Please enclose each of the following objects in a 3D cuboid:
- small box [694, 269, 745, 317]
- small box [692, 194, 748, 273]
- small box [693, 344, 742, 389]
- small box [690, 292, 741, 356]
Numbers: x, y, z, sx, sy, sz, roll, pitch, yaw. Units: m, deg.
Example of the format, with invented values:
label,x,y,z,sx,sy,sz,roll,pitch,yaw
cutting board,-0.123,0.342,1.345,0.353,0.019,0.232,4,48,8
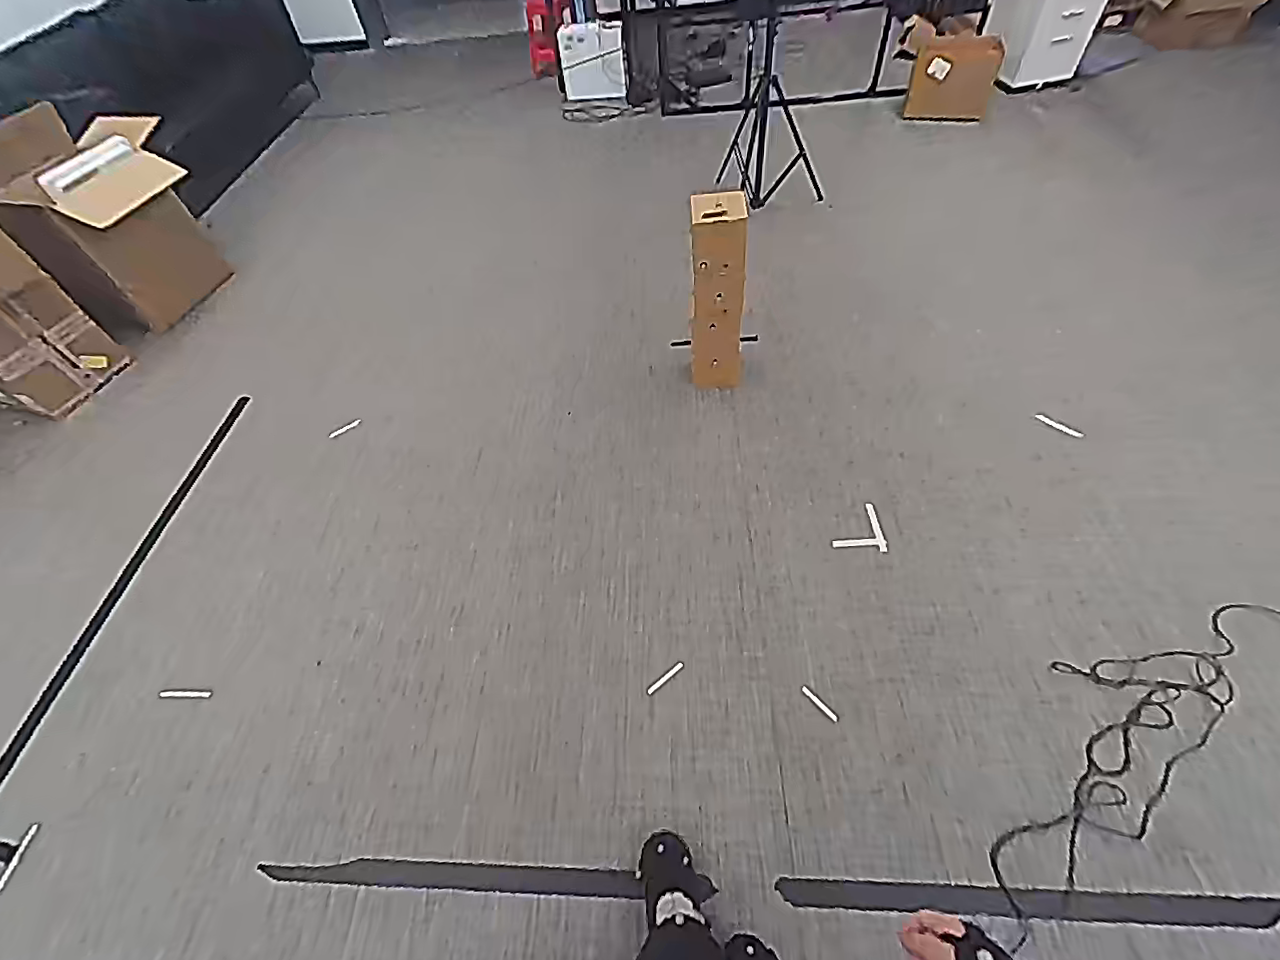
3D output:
label,x,y,z,sx,sy,sz,roll,pitch,yaw
small box,0.266,-0.665,1.825,0.168,0.176,0.179,-1,54,6
small box,0.248,-0.766,1.696,0.168,0.176,0.179,-2,52,6
small box,0.294,-0.468,2.086,0.179,0.176,0.168,-2,53,5
small box,0.272,-0.564,1.954,0.179,0.176,0.168,0,54,7
